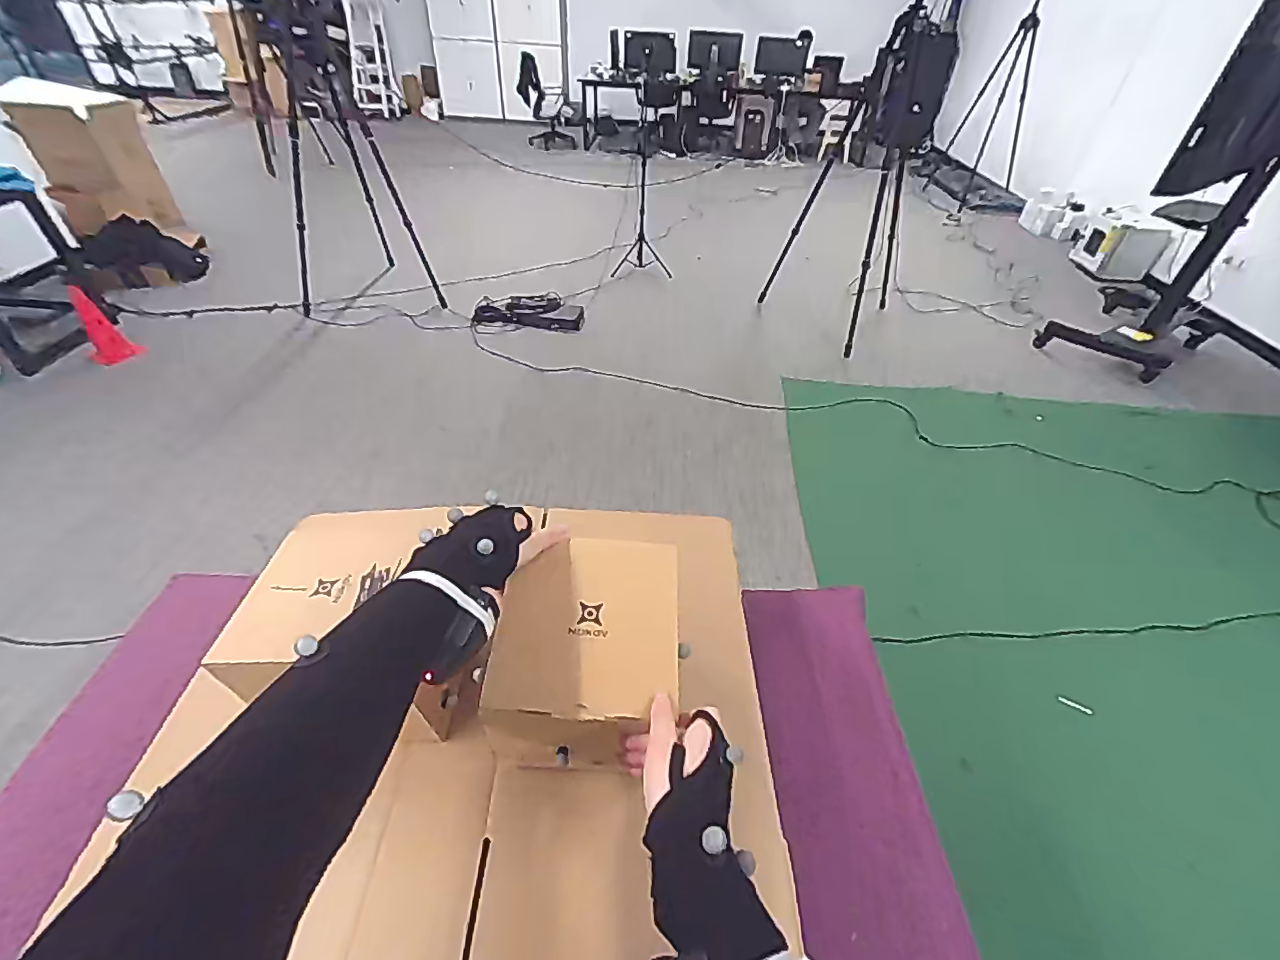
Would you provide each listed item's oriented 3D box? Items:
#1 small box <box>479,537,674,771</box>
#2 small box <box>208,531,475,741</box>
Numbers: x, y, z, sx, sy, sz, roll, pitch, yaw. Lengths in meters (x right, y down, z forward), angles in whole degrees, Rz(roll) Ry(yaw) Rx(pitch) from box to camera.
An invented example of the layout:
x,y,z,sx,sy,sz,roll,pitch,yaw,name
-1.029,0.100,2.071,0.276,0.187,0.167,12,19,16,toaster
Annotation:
x,y,z,sx,sy,sz,roll,pitch,yaw,name
-0.058,0.183,0.563,0.168,0.176,0.179,5,50,-3,small box
-0.303,0.174,0.602,0.179,0.176,0.168,-2,42,4,small box
